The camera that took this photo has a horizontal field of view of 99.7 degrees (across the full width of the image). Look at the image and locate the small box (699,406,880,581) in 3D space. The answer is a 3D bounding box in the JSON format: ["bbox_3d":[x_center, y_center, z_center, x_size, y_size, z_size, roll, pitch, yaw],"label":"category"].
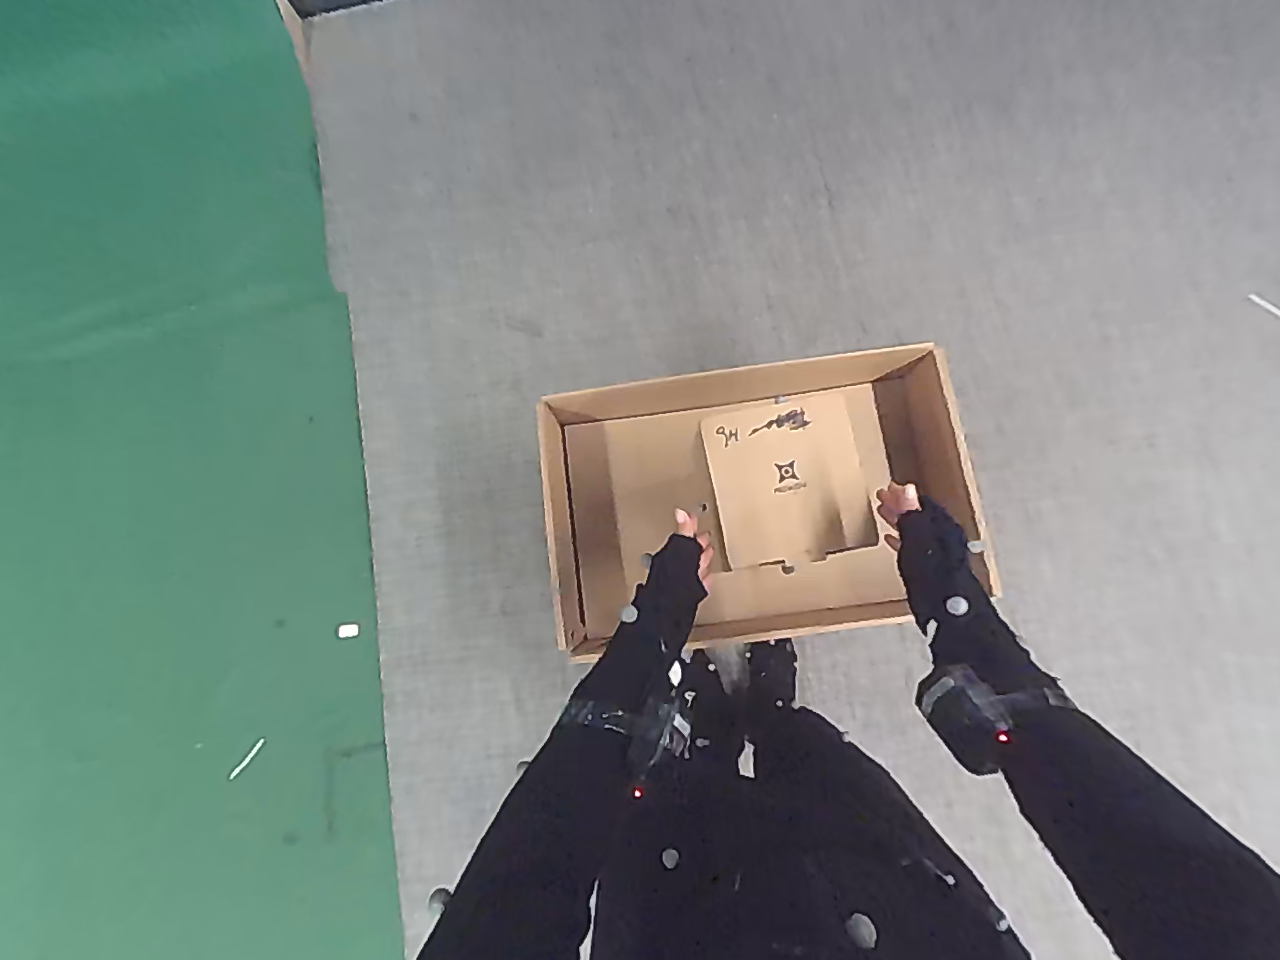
[{"bbox_3d":[0.172,0.025,0.676,0.168,0.176,0.179,-10,80,1],"label":"small box"}]
